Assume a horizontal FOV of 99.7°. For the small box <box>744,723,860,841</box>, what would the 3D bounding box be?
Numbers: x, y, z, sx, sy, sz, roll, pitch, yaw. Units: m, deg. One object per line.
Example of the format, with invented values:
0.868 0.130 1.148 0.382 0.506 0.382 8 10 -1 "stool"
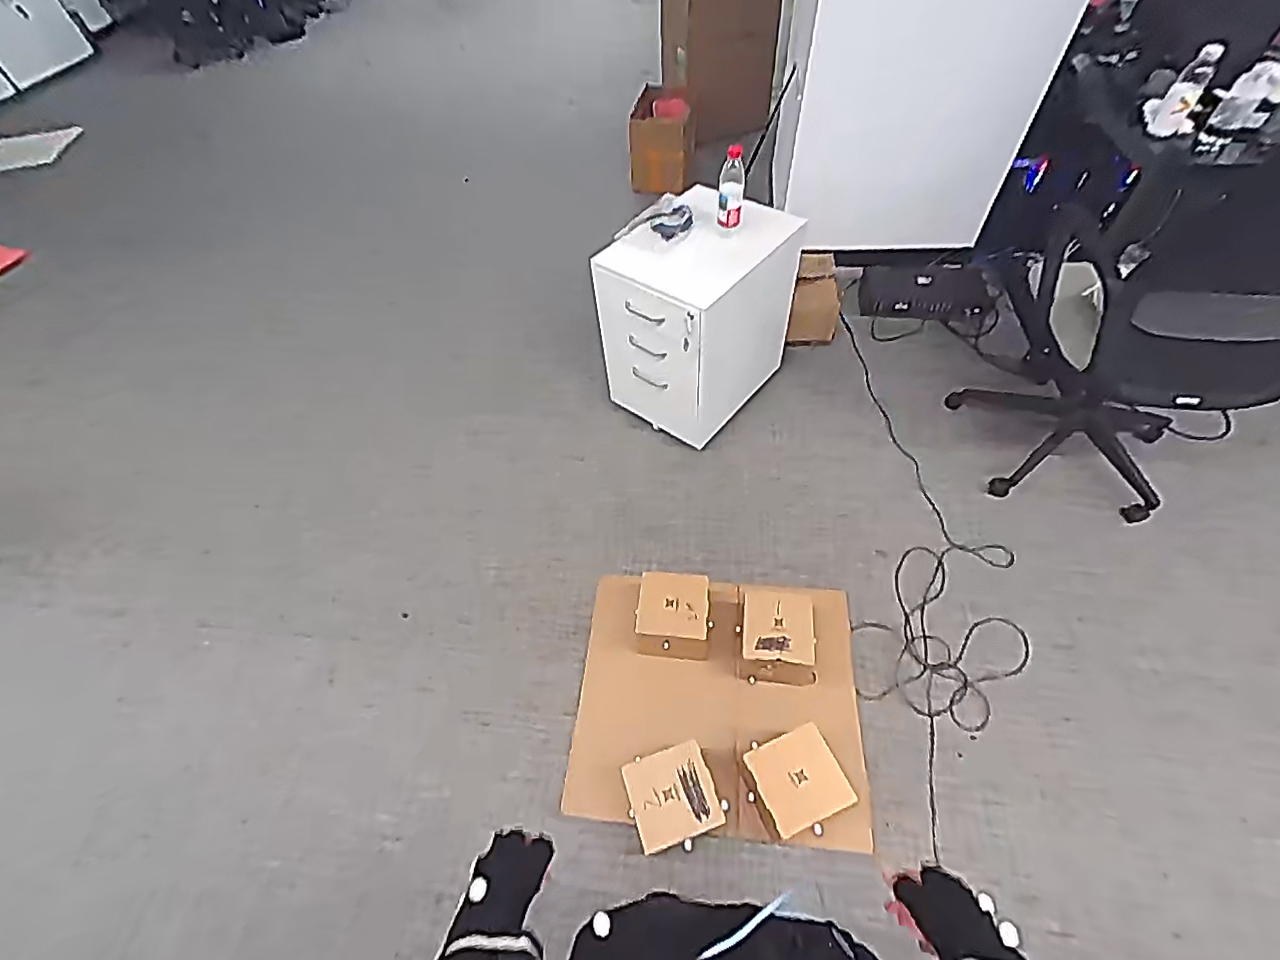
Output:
0.342 0.663 1.183 0.179 0.176 0.168 -22 54 -8 "small box"
